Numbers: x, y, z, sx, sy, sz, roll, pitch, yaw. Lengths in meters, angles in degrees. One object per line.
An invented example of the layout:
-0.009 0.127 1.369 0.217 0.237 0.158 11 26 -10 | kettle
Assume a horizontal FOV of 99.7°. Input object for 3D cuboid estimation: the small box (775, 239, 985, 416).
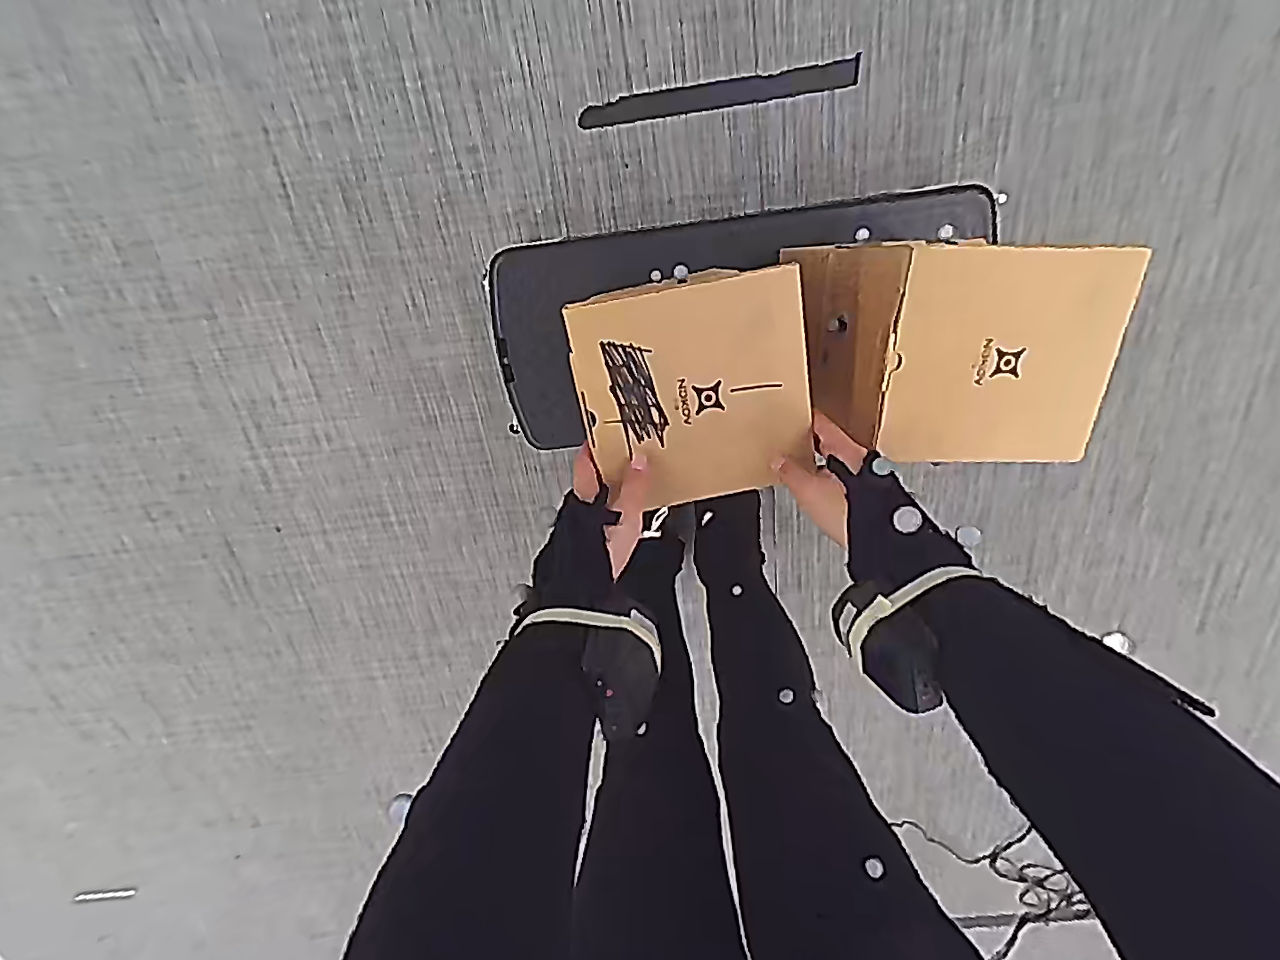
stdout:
0.261 -0.185 0.636 0.168 0.176 0.179 -3 112 1 | small box
